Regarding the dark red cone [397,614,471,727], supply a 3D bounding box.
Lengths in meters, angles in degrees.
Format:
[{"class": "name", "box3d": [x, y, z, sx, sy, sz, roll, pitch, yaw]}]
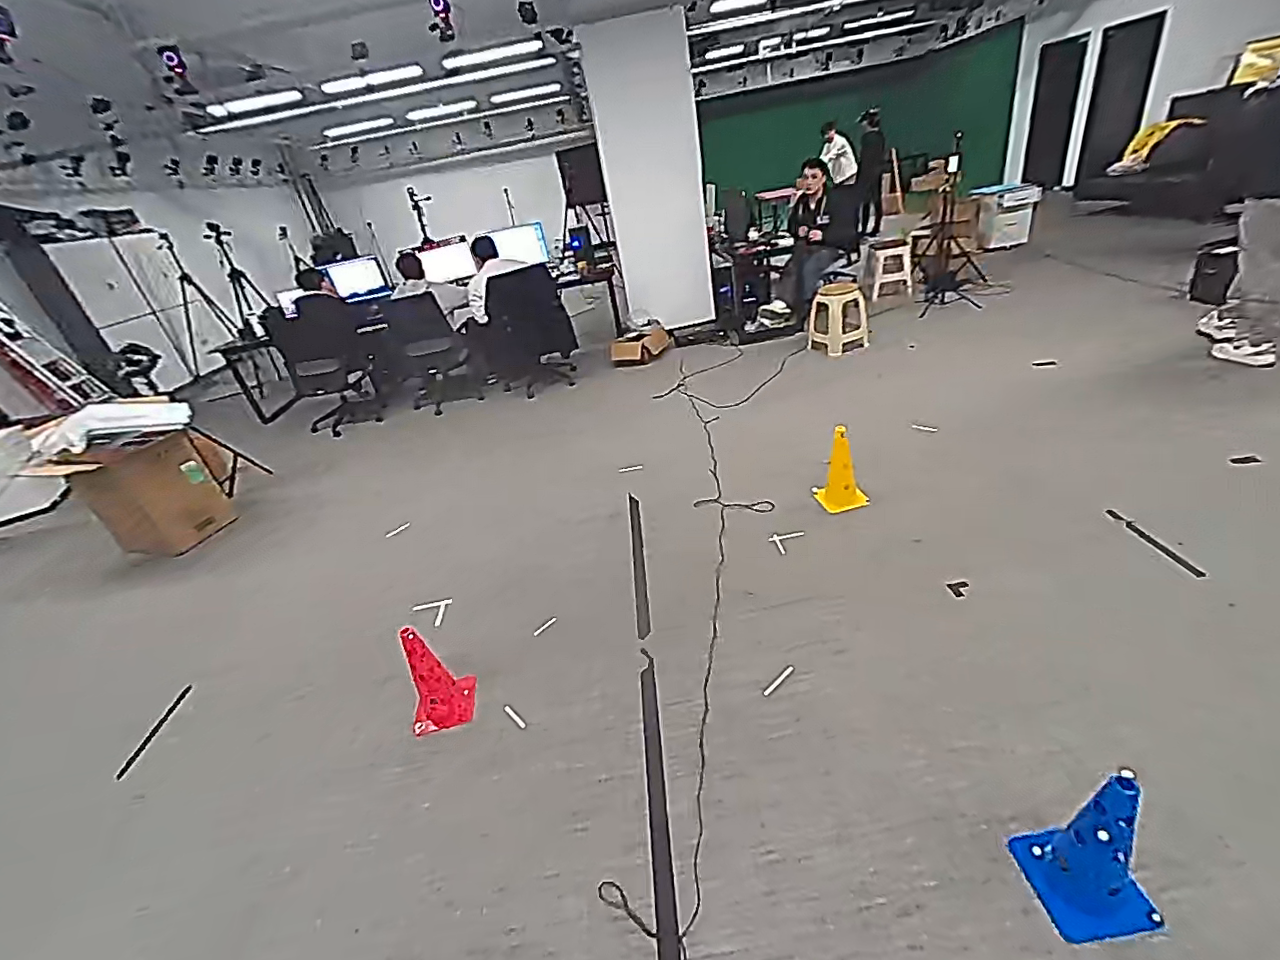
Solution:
[{"class": "dark red cone", "box3d": [-0.699, 0.593, 1.746, 0.201, 0.394, 0.202, -13, 29, -5]}]

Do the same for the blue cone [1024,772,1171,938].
[{"class": "blue cone", "box3d": [0.912, 0.692, 1.044, 0.192, 0.380, 0.193, -9, 29, 2]}]
